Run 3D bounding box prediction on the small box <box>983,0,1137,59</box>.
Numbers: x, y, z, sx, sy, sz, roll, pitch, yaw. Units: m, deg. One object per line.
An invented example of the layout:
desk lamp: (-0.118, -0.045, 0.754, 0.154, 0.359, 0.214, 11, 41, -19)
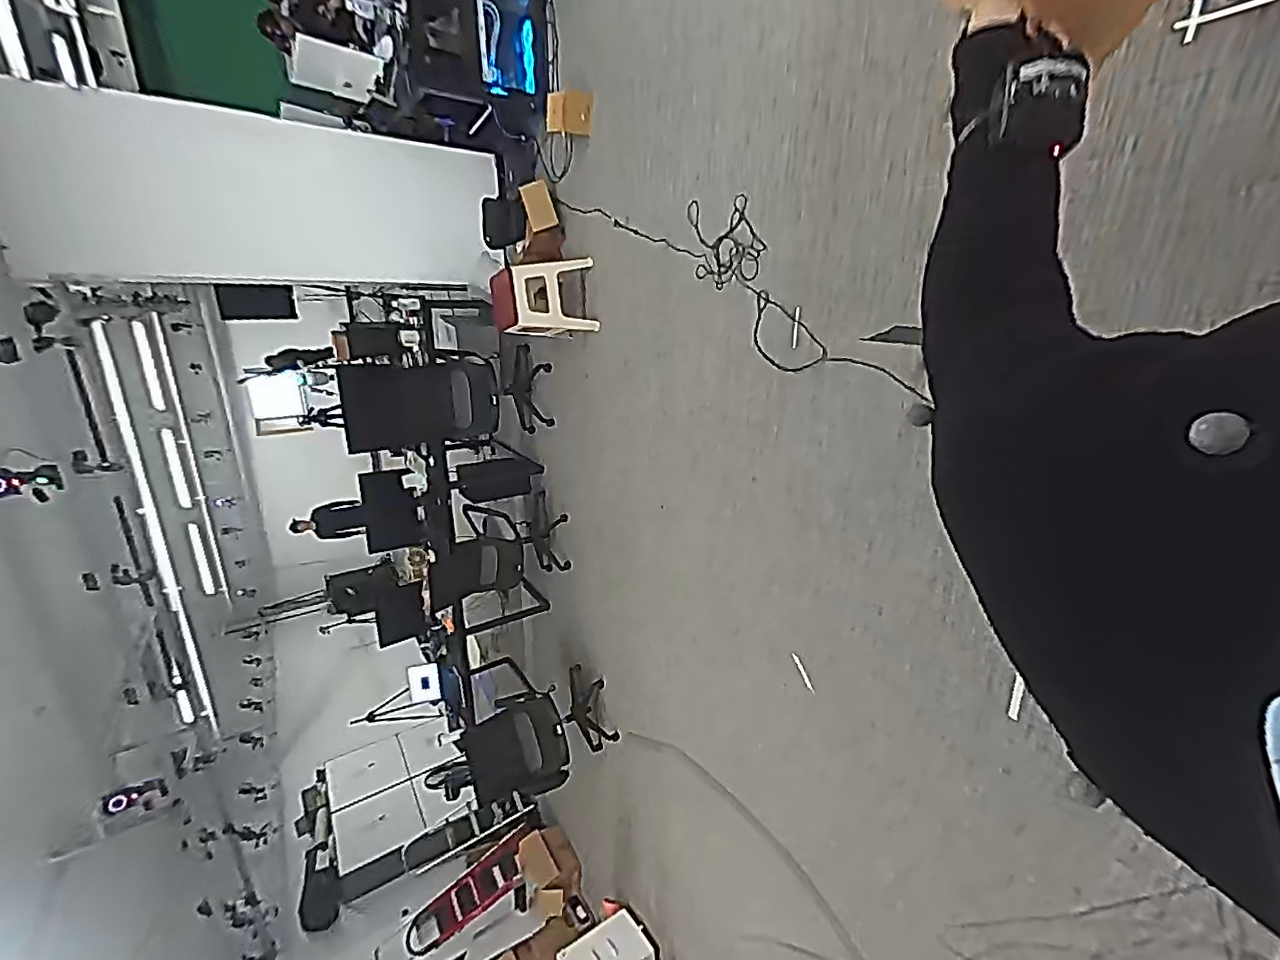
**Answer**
small box: (0.394, -0.511, 0.457, 0.168, 0.176, 0.179, 37, 147, 6)
